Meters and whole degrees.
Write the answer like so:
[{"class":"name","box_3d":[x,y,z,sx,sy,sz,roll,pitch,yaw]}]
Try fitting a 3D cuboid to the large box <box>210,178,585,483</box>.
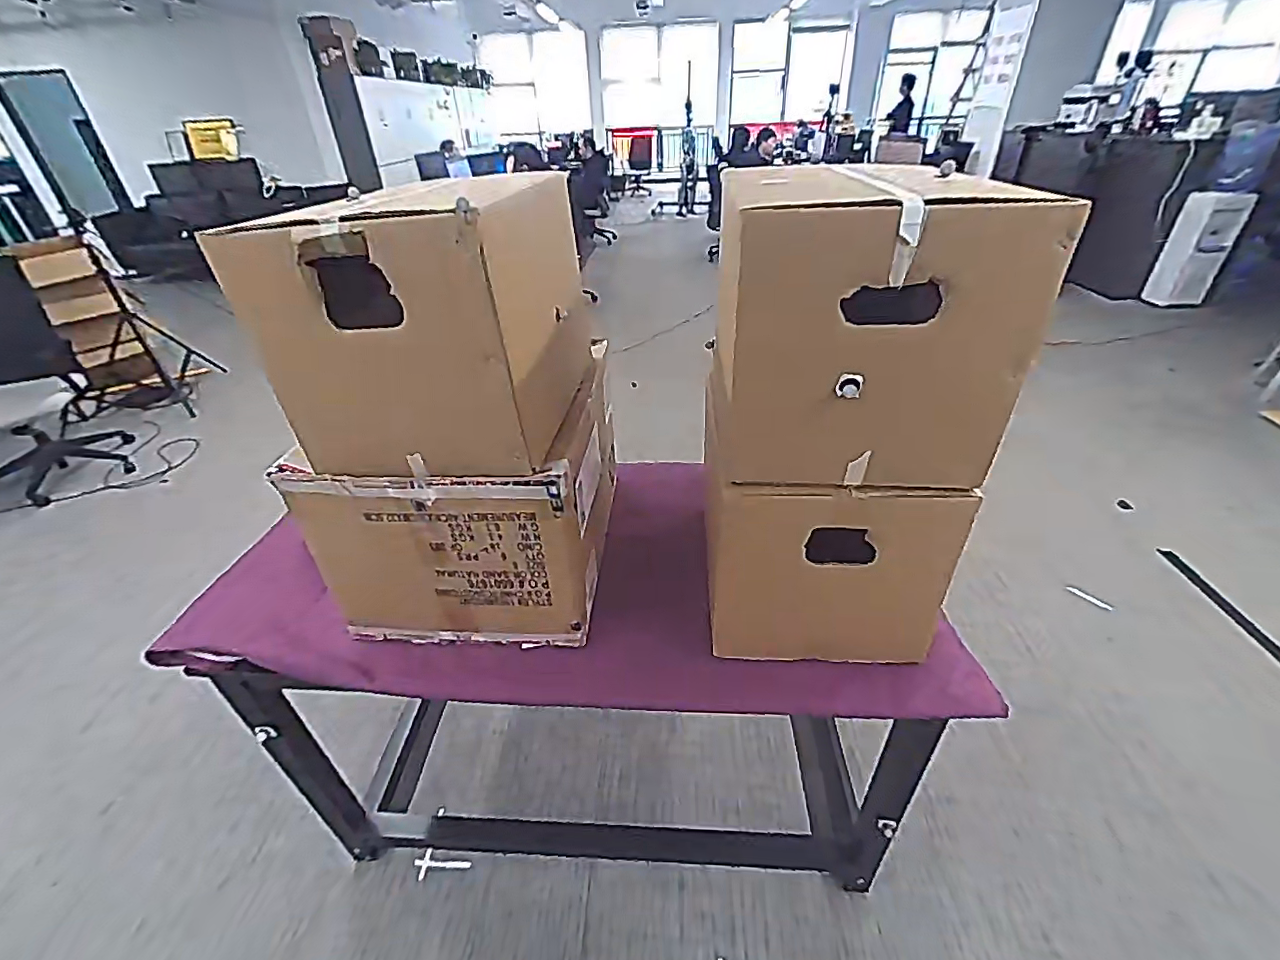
[{"class":"large box","box_3d":[-0.277,-0.237,0.794,0.320,0.320,0.408,-3,34,8]}]
